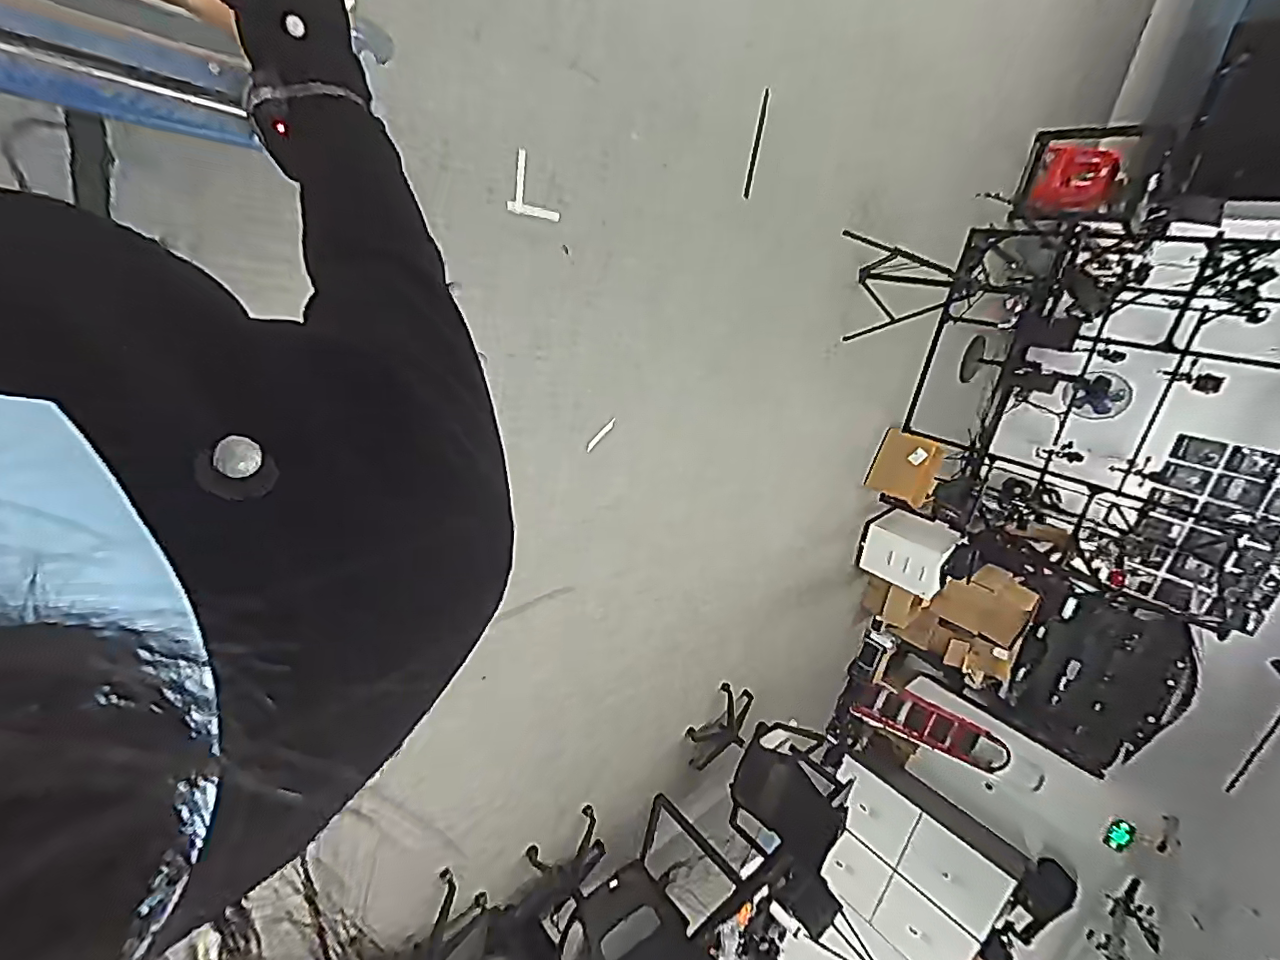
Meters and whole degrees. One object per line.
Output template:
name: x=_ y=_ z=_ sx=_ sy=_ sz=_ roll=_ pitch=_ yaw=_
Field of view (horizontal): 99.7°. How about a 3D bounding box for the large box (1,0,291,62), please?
large box: x=-0.714 y=-0.778 z=0.662 sx=0.408 sy=0.320 sz=0.320 roll=-14 pitch=121 yaw=-42
